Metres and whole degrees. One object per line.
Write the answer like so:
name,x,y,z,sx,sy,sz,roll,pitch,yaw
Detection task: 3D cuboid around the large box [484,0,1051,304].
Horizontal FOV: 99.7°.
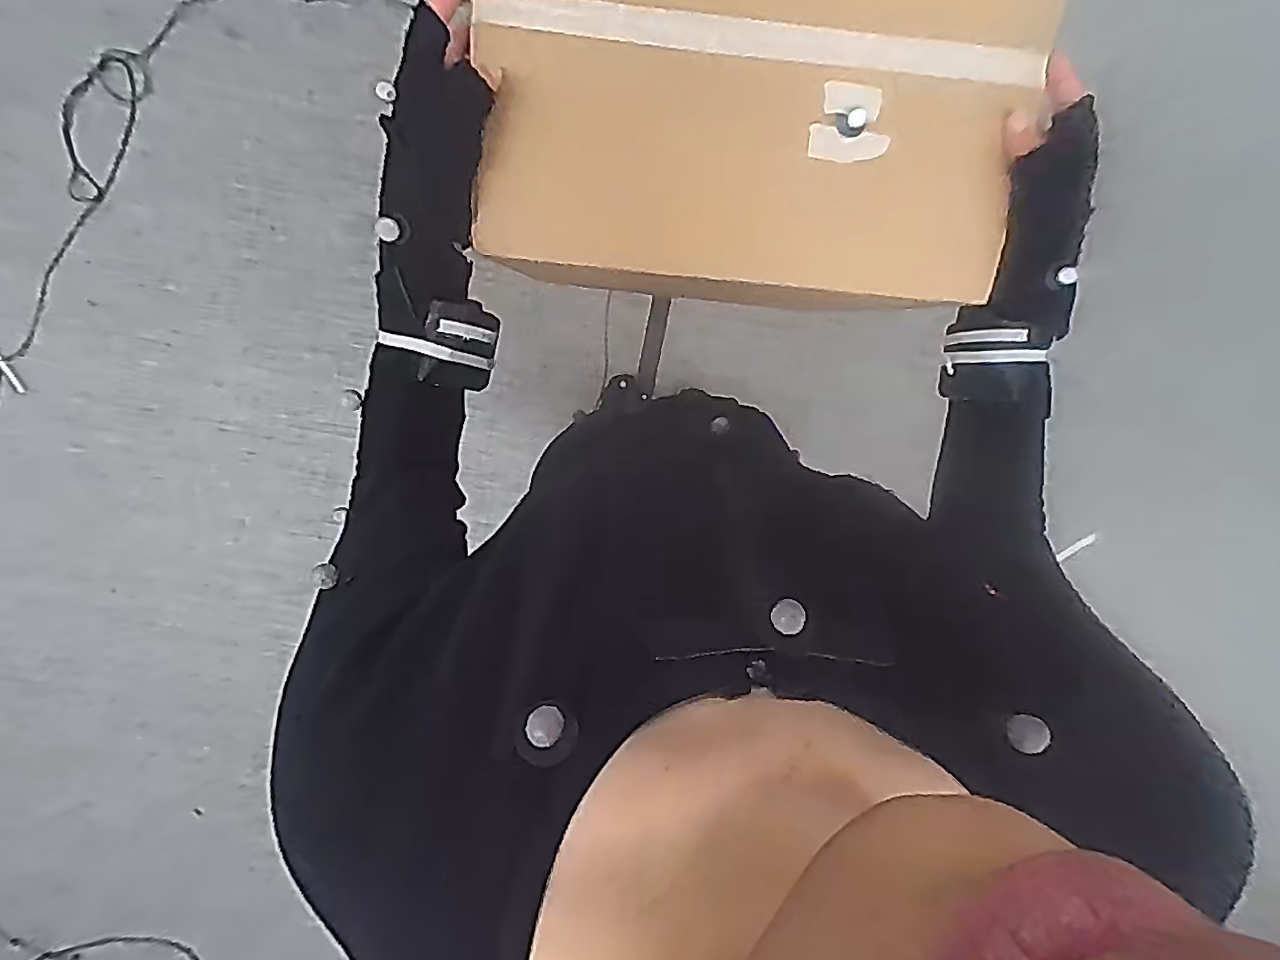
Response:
large box,0.081,-0.351,0.526,0.408,0.320,0.320,4,107,-4
